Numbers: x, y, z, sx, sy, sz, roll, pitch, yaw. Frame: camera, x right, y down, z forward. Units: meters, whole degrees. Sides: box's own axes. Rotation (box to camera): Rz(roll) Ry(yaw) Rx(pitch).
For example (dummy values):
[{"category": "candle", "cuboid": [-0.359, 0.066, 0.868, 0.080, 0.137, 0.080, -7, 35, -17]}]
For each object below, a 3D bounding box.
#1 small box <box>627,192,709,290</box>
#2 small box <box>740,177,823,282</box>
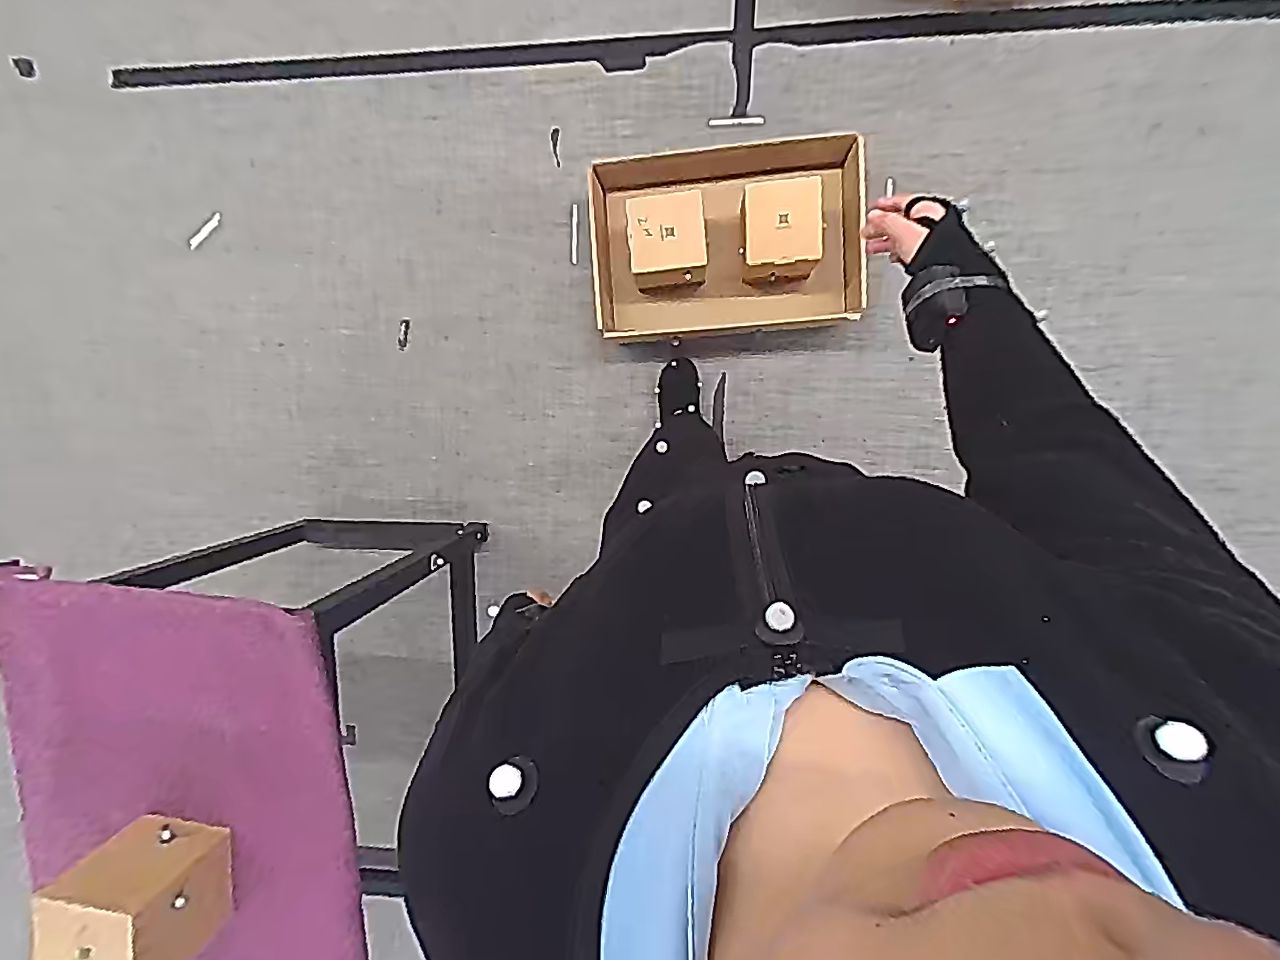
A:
[{"category": "small box", "cuboid": [0.068, -0.565, 1.295, 0.179, 0.176, 0.168, -5, 96, 6]}, {"category": "small box", "cuboid": [0.326, -0.578, 1.268, 0.168, 0.176, 0.179, -3, 97, 7]}]
